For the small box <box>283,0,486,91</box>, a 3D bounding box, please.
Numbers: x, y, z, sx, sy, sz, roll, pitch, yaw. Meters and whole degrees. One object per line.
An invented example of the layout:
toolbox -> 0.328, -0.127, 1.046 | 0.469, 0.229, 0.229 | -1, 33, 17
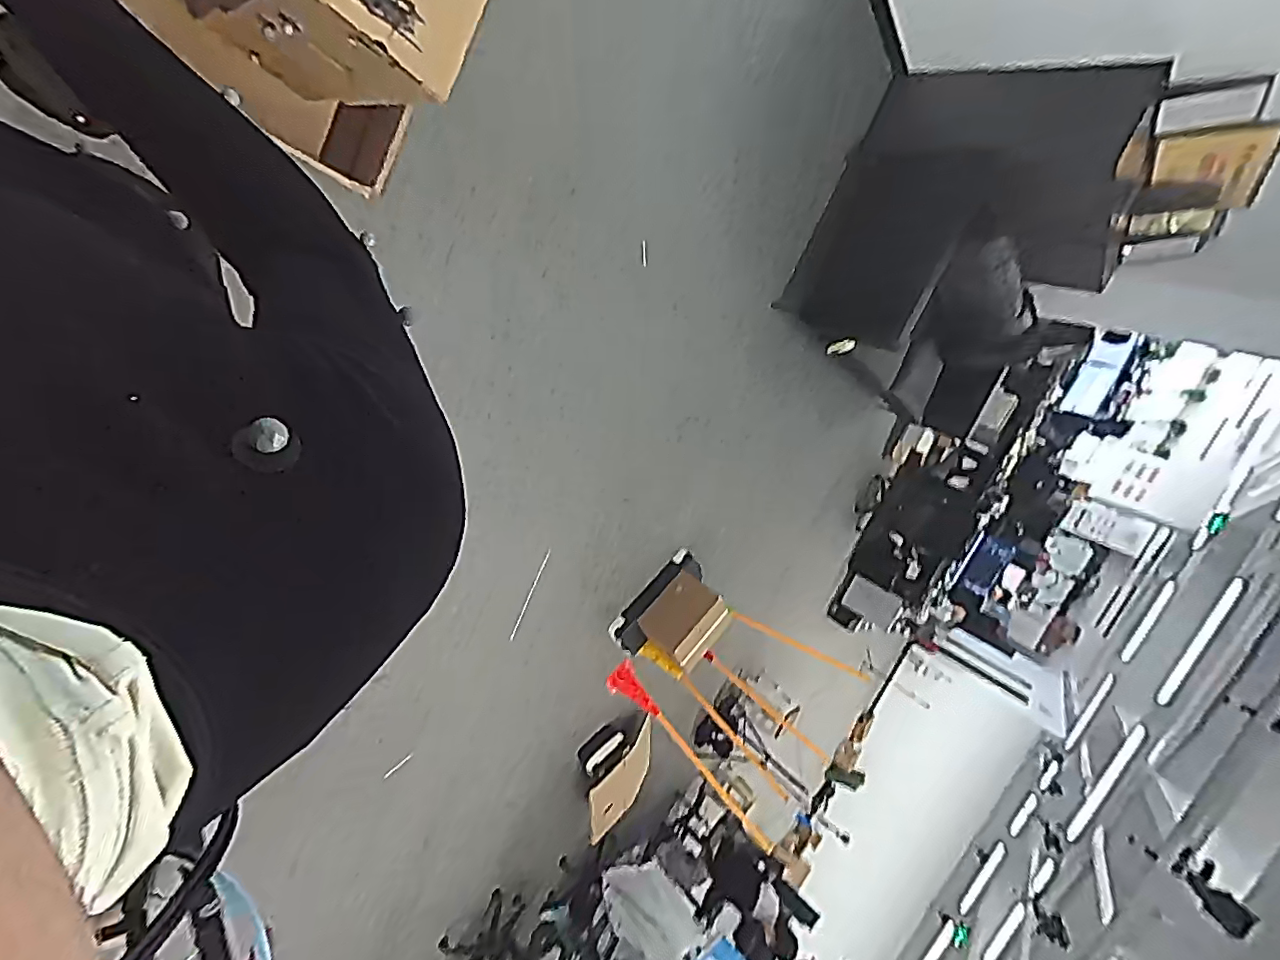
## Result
small box -> -0.291, -0.580, 0.610 | 0.168, 0.176, 0.179 | 17, 102, -53
